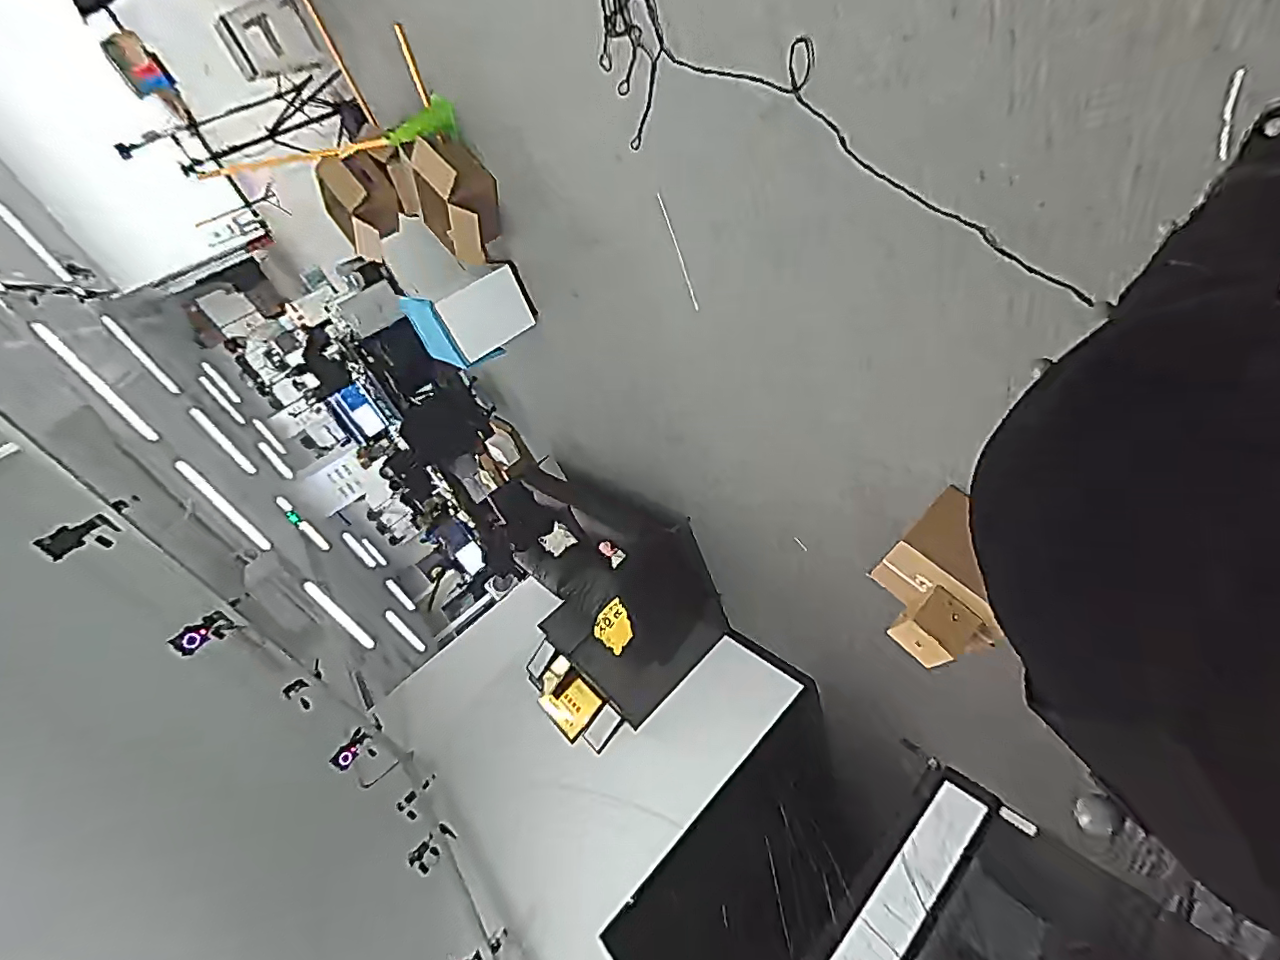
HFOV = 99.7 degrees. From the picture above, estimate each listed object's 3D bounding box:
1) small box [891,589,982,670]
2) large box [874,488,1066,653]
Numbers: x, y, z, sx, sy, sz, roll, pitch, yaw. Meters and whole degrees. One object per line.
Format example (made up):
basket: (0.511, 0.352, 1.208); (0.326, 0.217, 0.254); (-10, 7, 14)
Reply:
small box: (0.961, 0.483, 1.751); (0.168, 0.176, 0.179); (43, 158, 19)
large box: (1.107, 0.308, 1.848); (0.408, 0.320, 0.320); (43, 157, 24)
